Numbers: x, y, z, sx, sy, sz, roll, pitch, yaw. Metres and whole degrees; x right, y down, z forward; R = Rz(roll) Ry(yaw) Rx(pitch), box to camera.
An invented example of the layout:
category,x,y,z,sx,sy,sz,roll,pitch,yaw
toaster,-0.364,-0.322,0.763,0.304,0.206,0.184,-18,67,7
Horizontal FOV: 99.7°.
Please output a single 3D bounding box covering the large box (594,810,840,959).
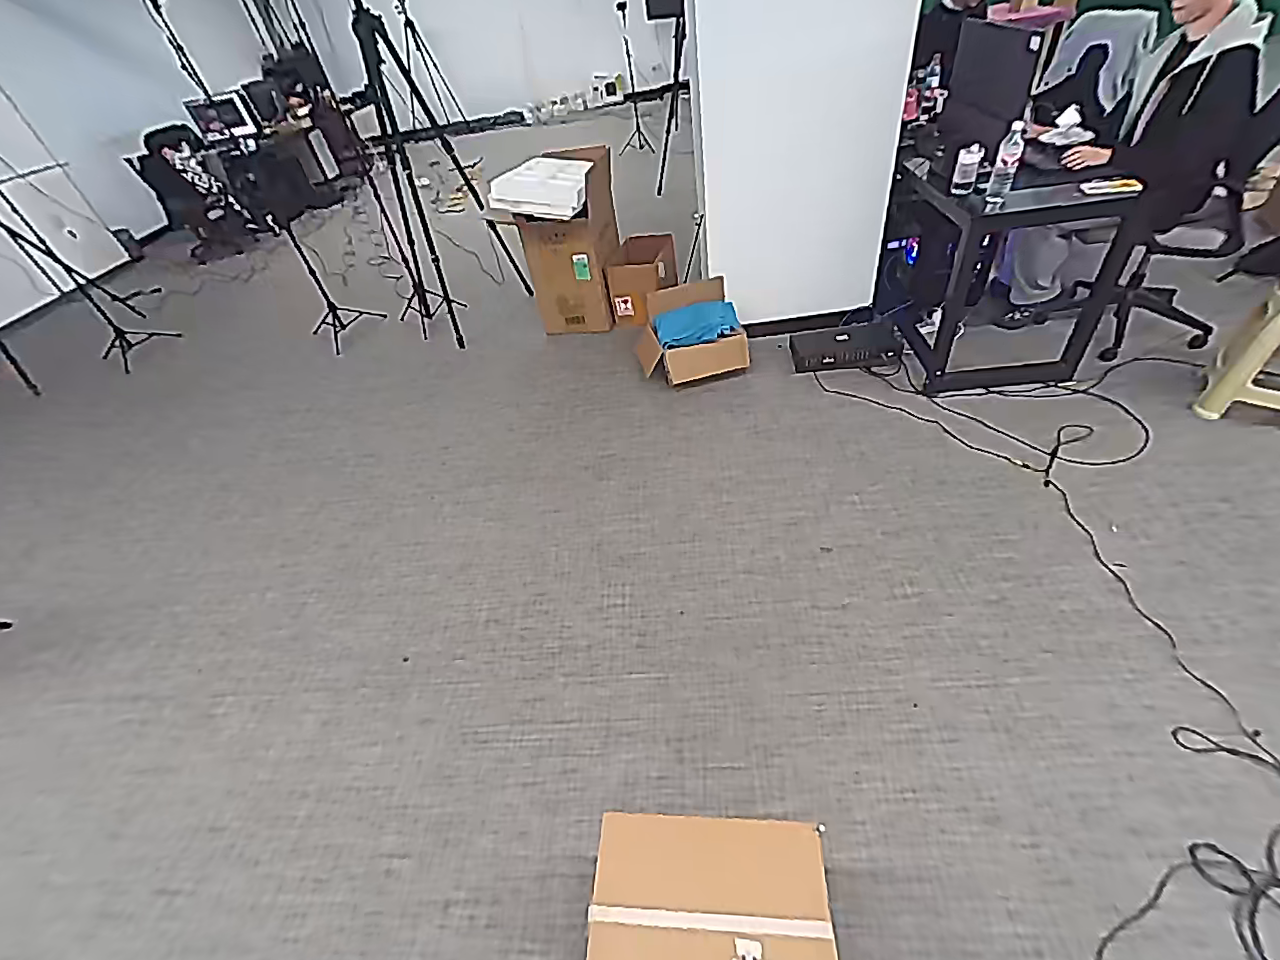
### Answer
category,x,y,z,sx,sy,sz,roll,pitch,yaw
large box,0.142,0.848,1.012,0.408,0.320,0.320,-2,43,9
